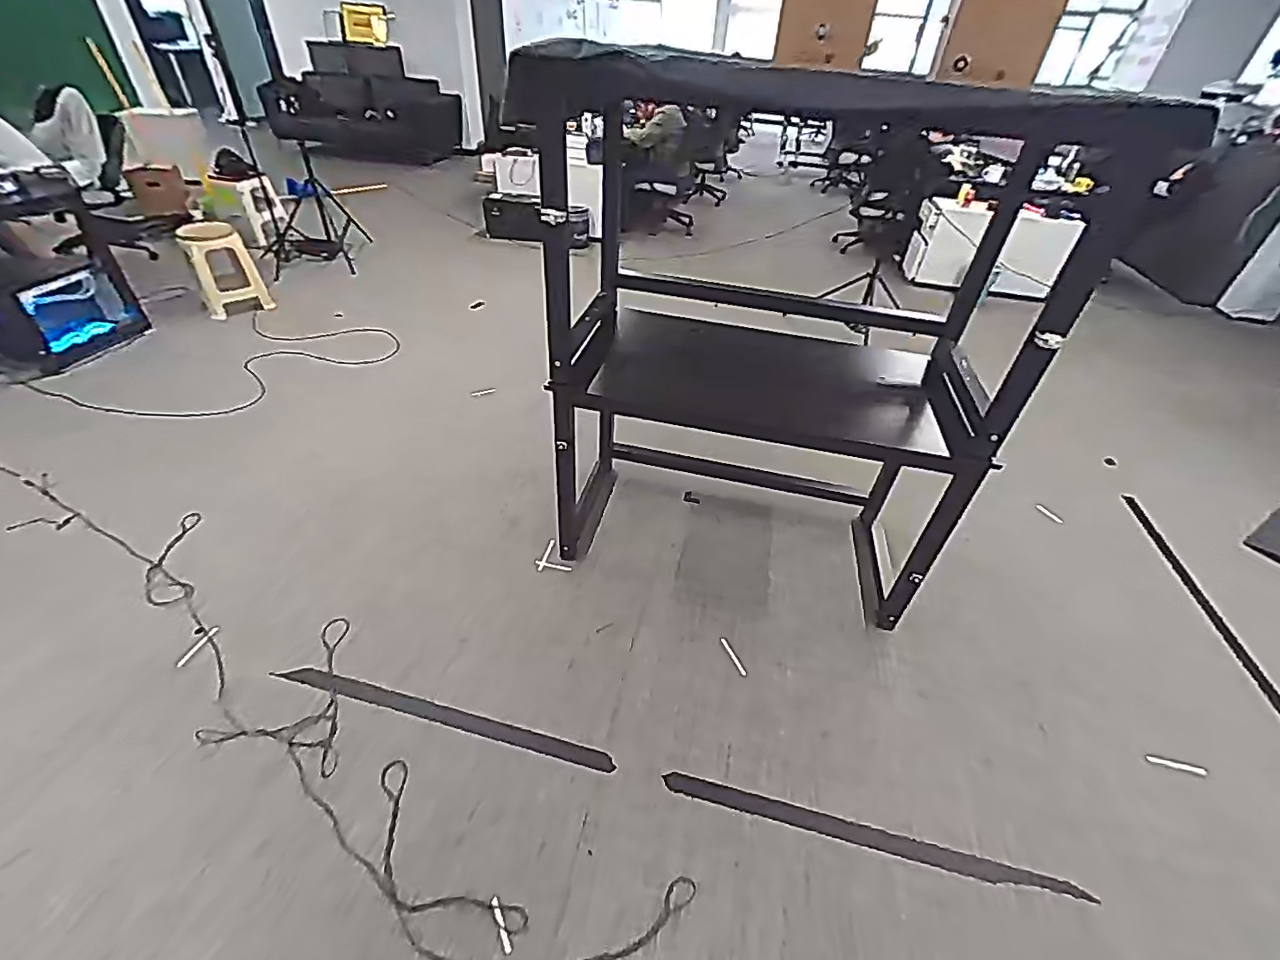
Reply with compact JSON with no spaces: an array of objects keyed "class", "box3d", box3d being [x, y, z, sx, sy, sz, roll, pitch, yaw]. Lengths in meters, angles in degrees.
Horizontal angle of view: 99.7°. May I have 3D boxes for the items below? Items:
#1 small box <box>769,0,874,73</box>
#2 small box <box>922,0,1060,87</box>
[{"class":"small box","box3d":[0.342,-0.877,1.013,0.168,0.176,0.179,11,38,9]},{"class":"small box","box3d":[0.634,-0.822,0.979,0.168,0.176,0.179,14,39,11]}]
